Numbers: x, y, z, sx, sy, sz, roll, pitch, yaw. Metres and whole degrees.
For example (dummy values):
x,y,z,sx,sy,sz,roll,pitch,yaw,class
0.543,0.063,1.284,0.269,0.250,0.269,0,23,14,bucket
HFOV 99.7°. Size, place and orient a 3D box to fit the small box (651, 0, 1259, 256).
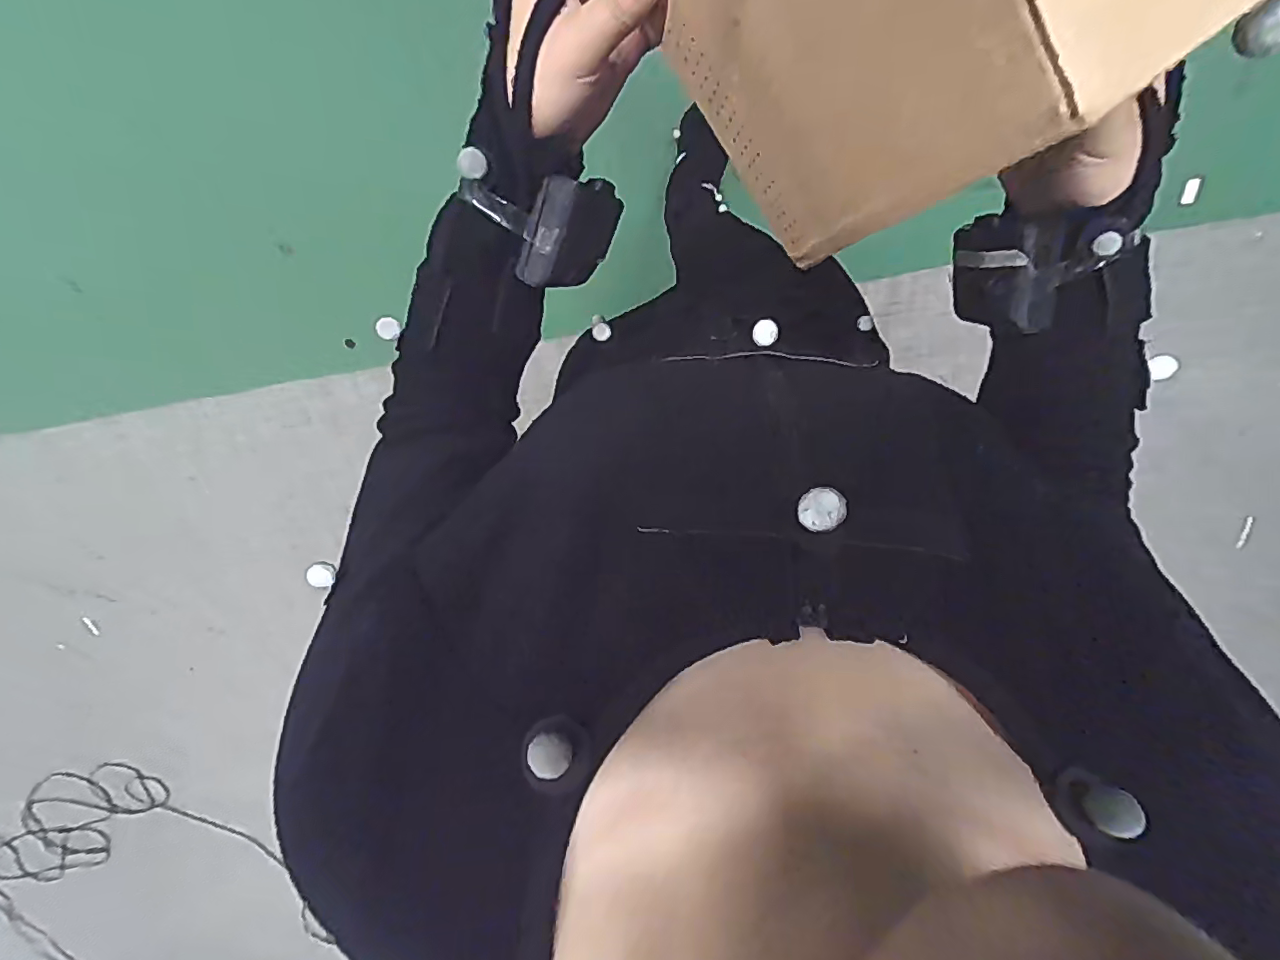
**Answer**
x,y,z,sx,sy,sz,roll,pitch,yaw,class
0.104,-0.203,0.170,0.168,0.176,0.179,-36,100,6,small box
